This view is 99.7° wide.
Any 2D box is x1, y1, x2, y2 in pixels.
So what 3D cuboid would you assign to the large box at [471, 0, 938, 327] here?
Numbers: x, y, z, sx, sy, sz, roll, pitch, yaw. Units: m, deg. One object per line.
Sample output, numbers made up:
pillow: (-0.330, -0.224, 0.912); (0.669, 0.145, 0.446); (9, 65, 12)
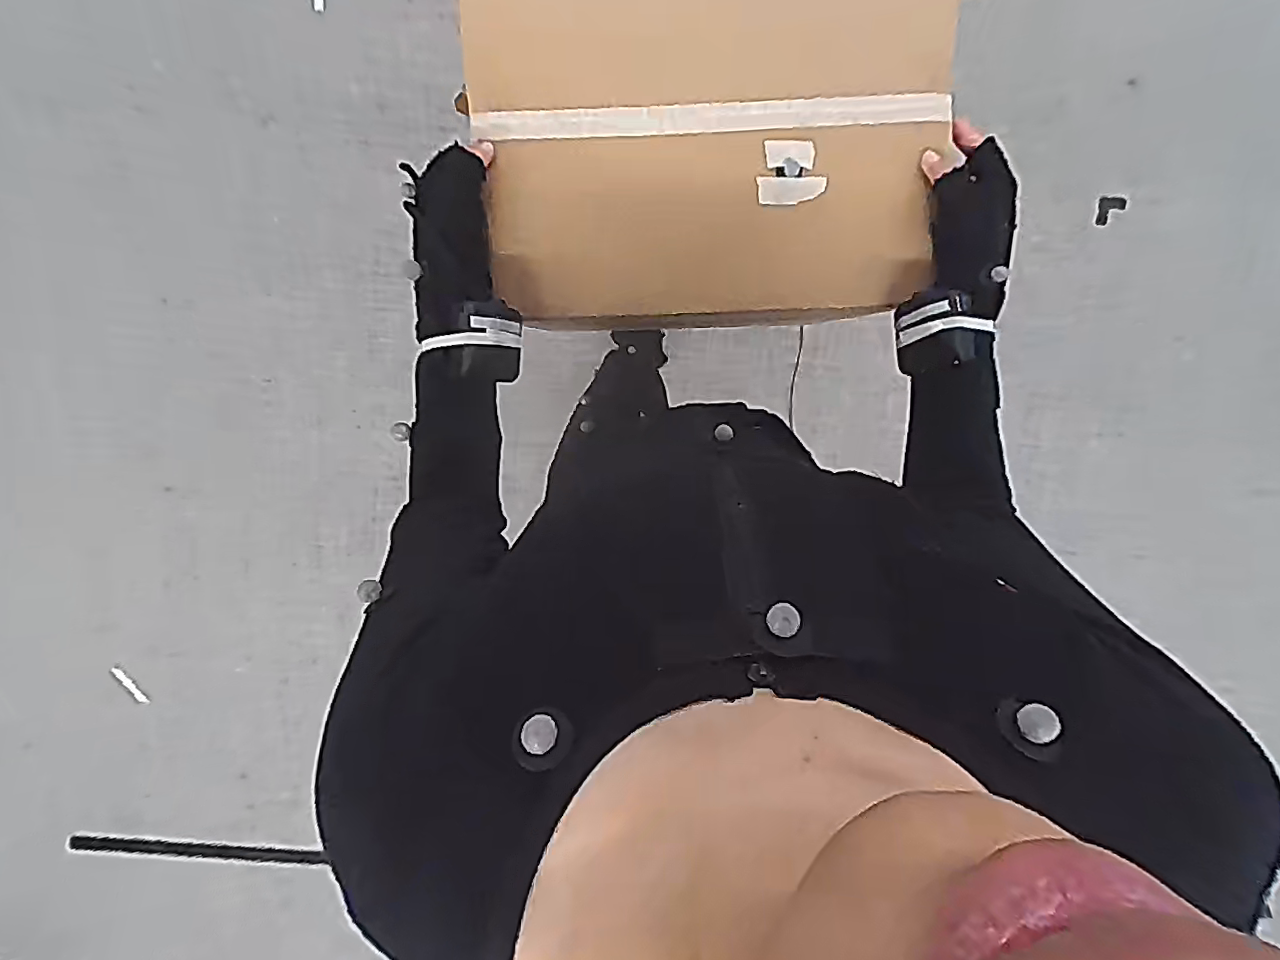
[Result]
large box: (0.056, -0.354, 0.623); (0.408, 0.320, 0.320); (-3, 104, -1)
